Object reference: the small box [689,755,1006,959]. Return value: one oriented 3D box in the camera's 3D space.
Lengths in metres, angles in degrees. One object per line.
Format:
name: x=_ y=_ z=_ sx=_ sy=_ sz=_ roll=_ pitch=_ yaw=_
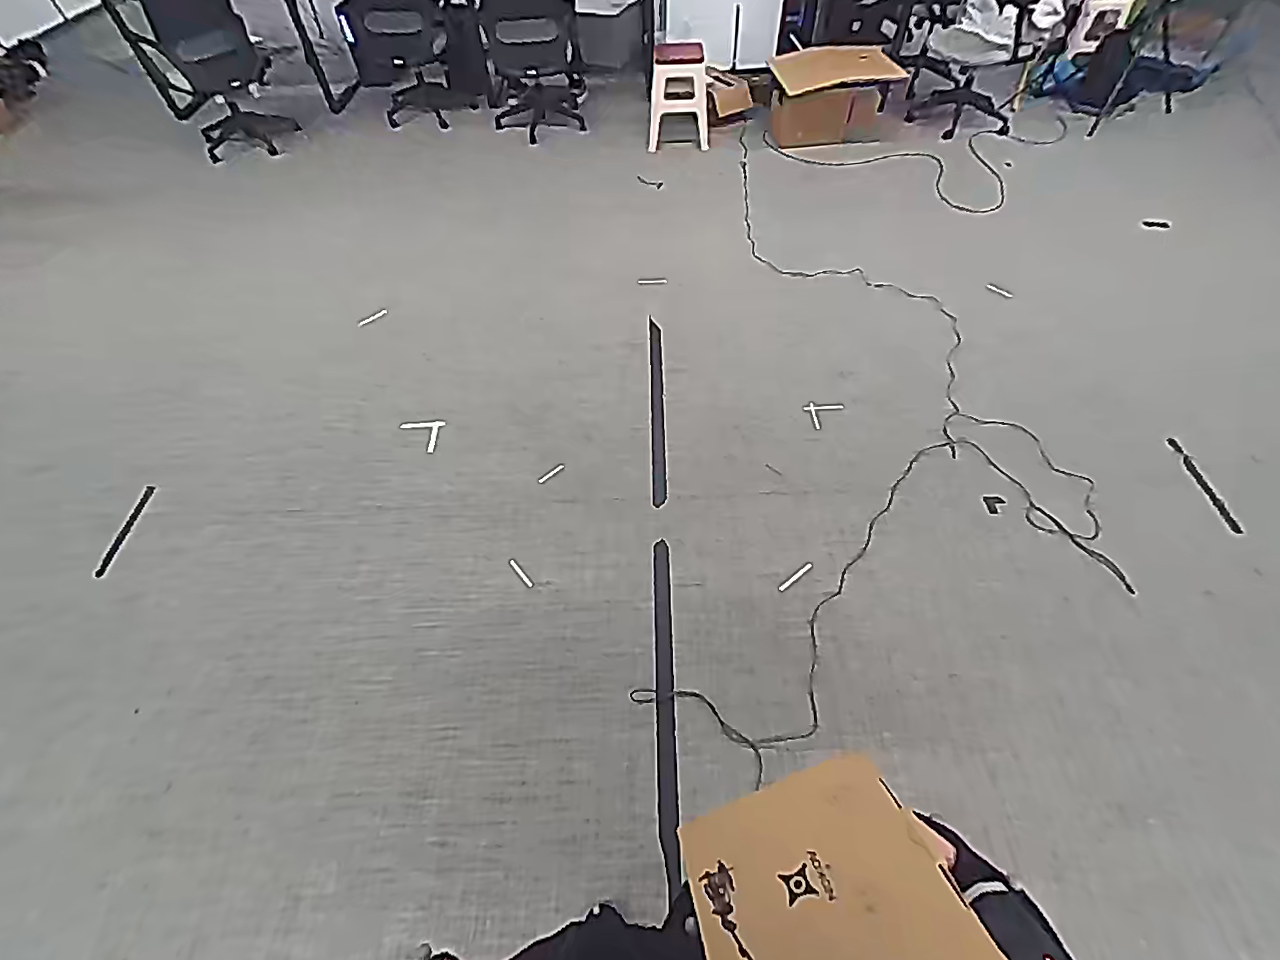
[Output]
small box: x=0.160 y=0.368 z=0.425 sx=0.179 sy=0.176 sz=0.168 roll=-23 pitch=18 yaw=-1
